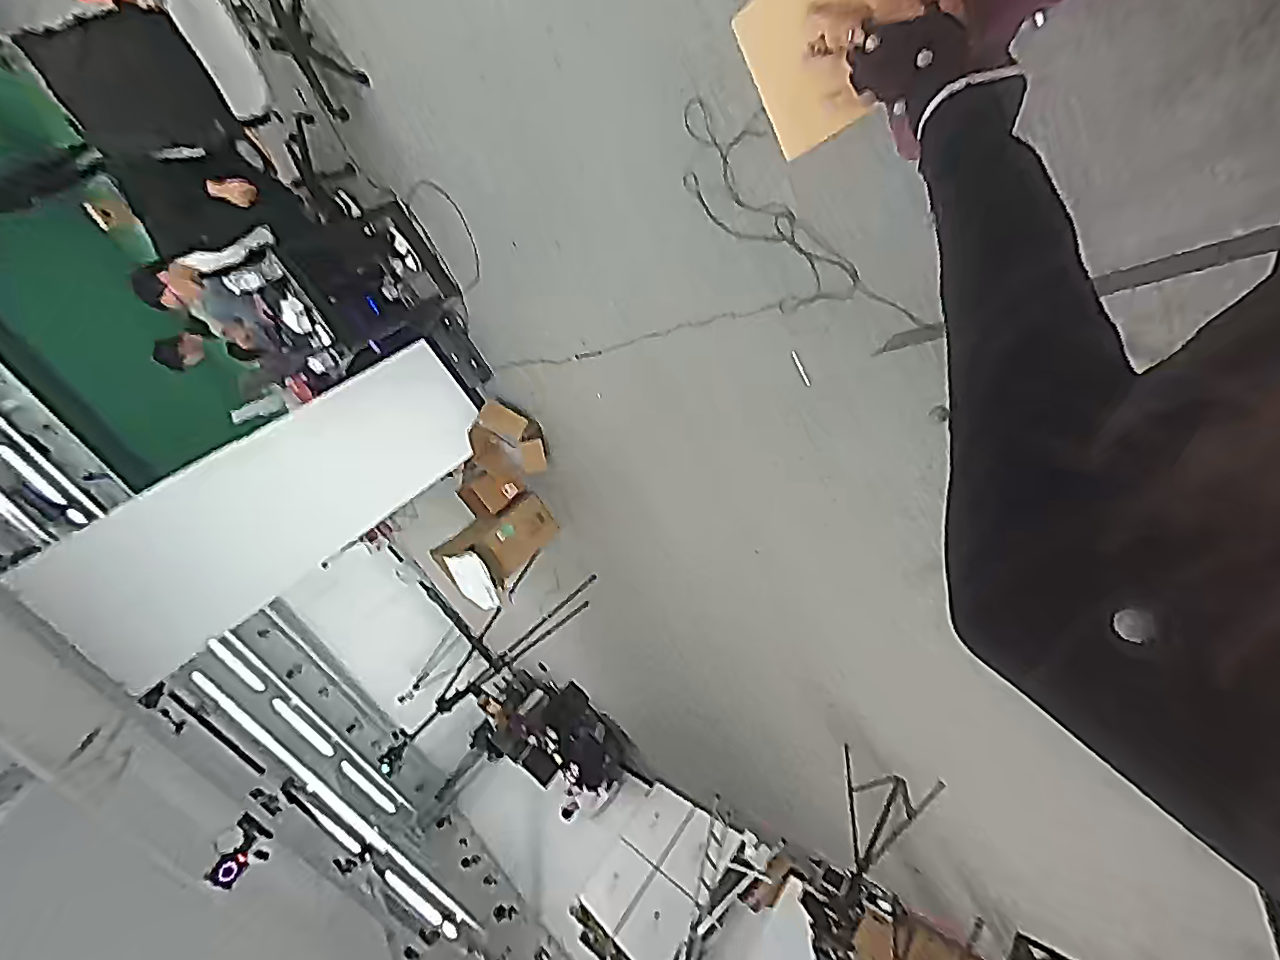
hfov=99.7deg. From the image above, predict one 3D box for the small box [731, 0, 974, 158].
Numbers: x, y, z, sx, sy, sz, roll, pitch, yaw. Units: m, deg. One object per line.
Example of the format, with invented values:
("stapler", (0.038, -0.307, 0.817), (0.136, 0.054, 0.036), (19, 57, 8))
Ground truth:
("small box", (0.243, -0.513, 0.618), (0.179, 0.176, 0.168), (-5, 123, 52))
